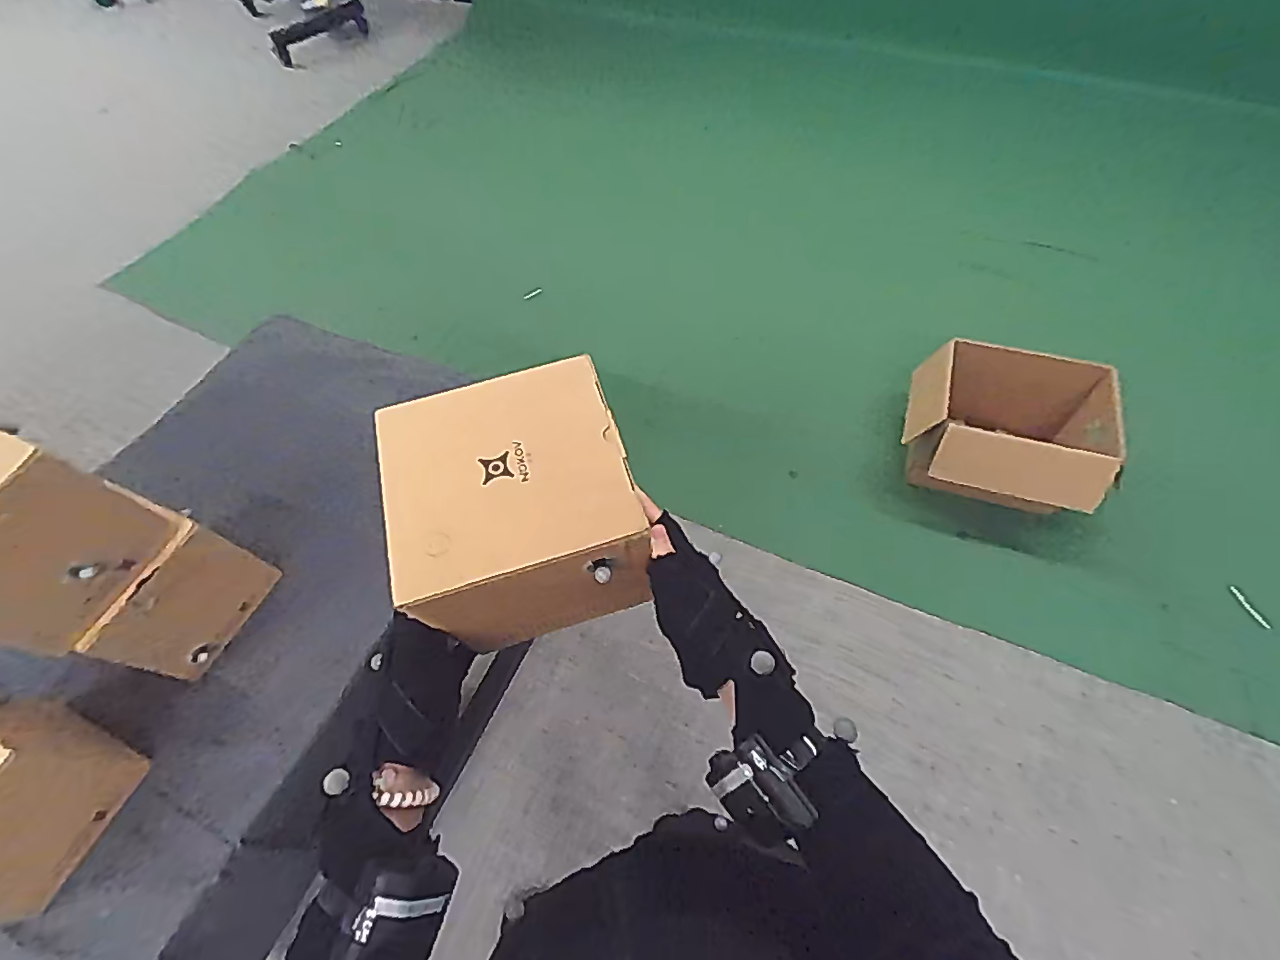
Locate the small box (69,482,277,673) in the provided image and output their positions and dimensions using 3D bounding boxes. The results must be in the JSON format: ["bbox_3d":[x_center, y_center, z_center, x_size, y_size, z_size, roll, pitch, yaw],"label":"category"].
[{"bbox_3d":[-0.630,0.134,0.701,0.179,0.176,0.168,18,62,15],"label":"small box"}]

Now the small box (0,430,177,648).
[{"bbox_3d":[-0.658,0.055,0.558,0.179,0.176,0.168,18,63,13],"label":"small box"}]

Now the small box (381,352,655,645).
[{"bbox_3d":[-0.093,0.026,0.463,0.179,0.176,0.168,-17,62,-6],"label":"small box"}]
